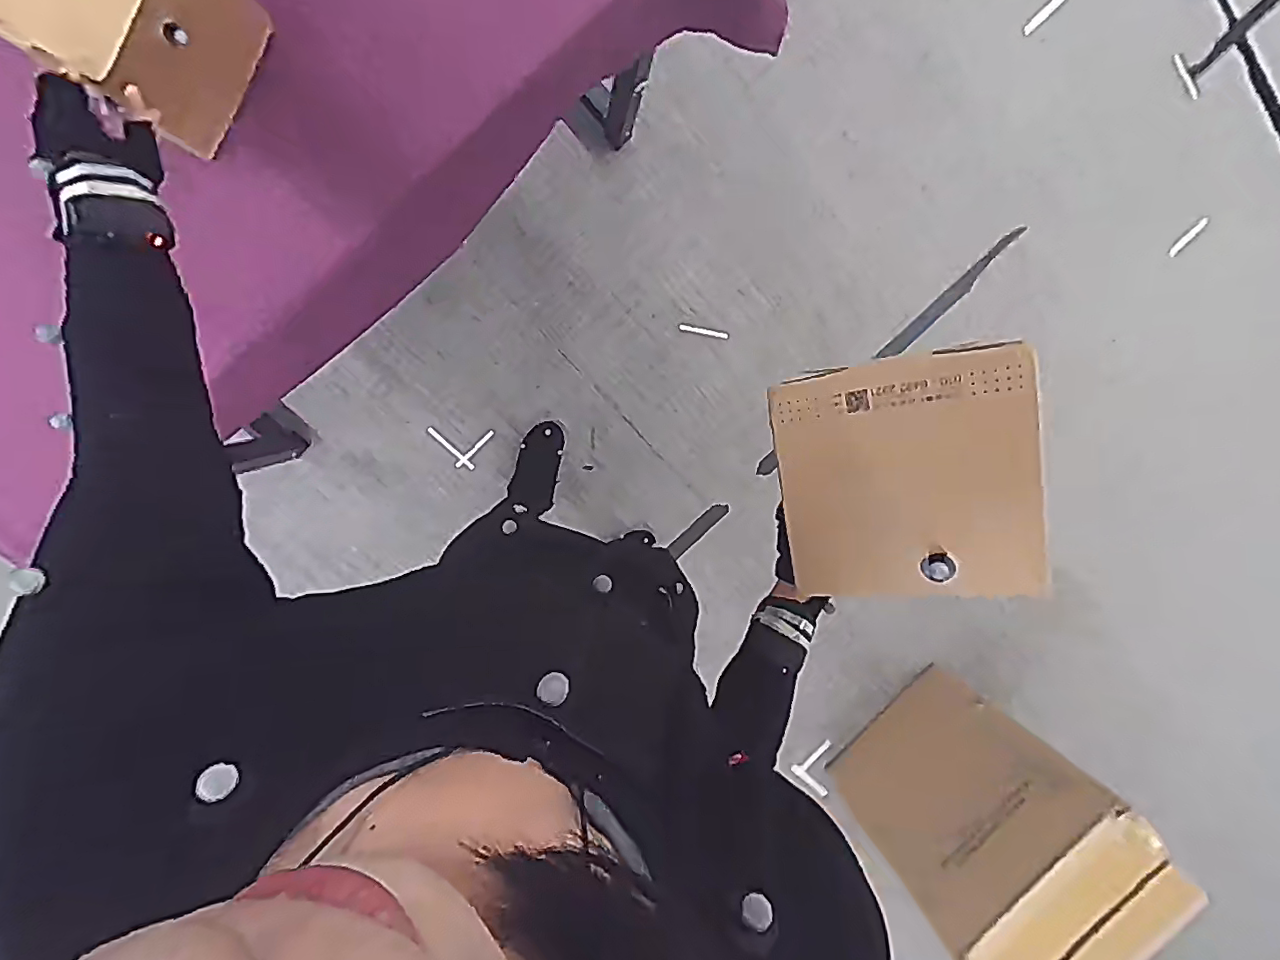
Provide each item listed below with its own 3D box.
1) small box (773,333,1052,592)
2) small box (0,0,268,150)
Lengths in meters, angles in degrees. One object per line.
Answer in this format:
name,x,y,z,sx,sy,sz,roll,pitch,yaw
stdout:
small box,0.213,-0.022,0.443,0.168,0.179,0.176,-7,102,25
small box,-0.521,-0.480,0.541,0.168,0.176,0.179,28,94,-14
